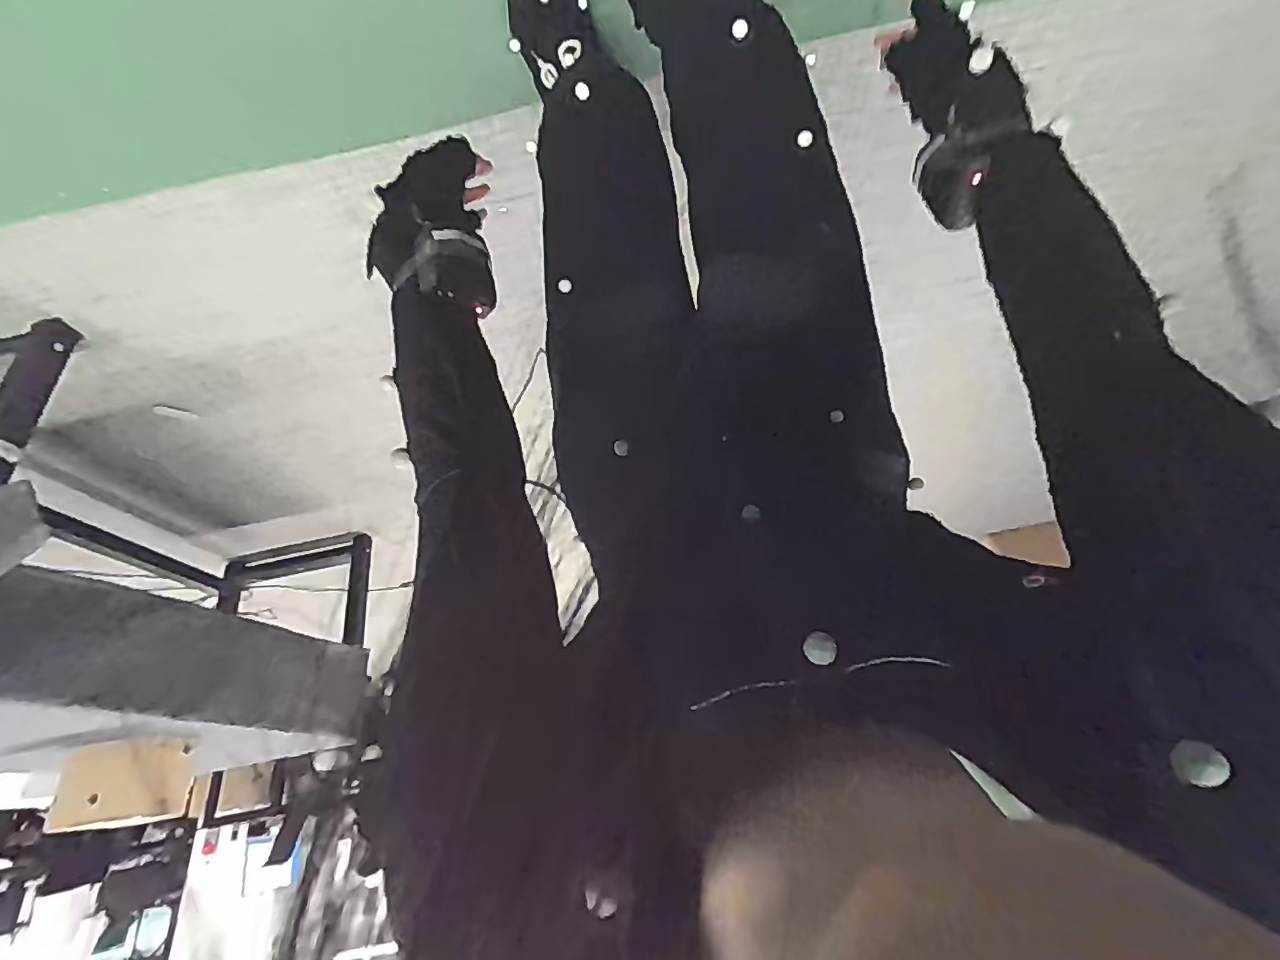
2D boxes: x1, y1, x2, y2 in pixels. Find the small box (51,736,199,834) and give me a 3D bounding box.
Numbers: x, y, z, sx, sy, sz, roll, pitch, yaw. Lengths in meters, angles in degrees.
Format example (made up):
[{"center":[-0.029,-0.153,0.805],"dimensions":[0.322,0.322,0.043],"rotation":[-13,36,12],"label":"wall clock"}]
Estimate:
[{"center":[-1.175,0.702,1.255],"dimensions":[0.179,0.176,0.168],"rotation":[-11,149,3],"label":"small box"}]
